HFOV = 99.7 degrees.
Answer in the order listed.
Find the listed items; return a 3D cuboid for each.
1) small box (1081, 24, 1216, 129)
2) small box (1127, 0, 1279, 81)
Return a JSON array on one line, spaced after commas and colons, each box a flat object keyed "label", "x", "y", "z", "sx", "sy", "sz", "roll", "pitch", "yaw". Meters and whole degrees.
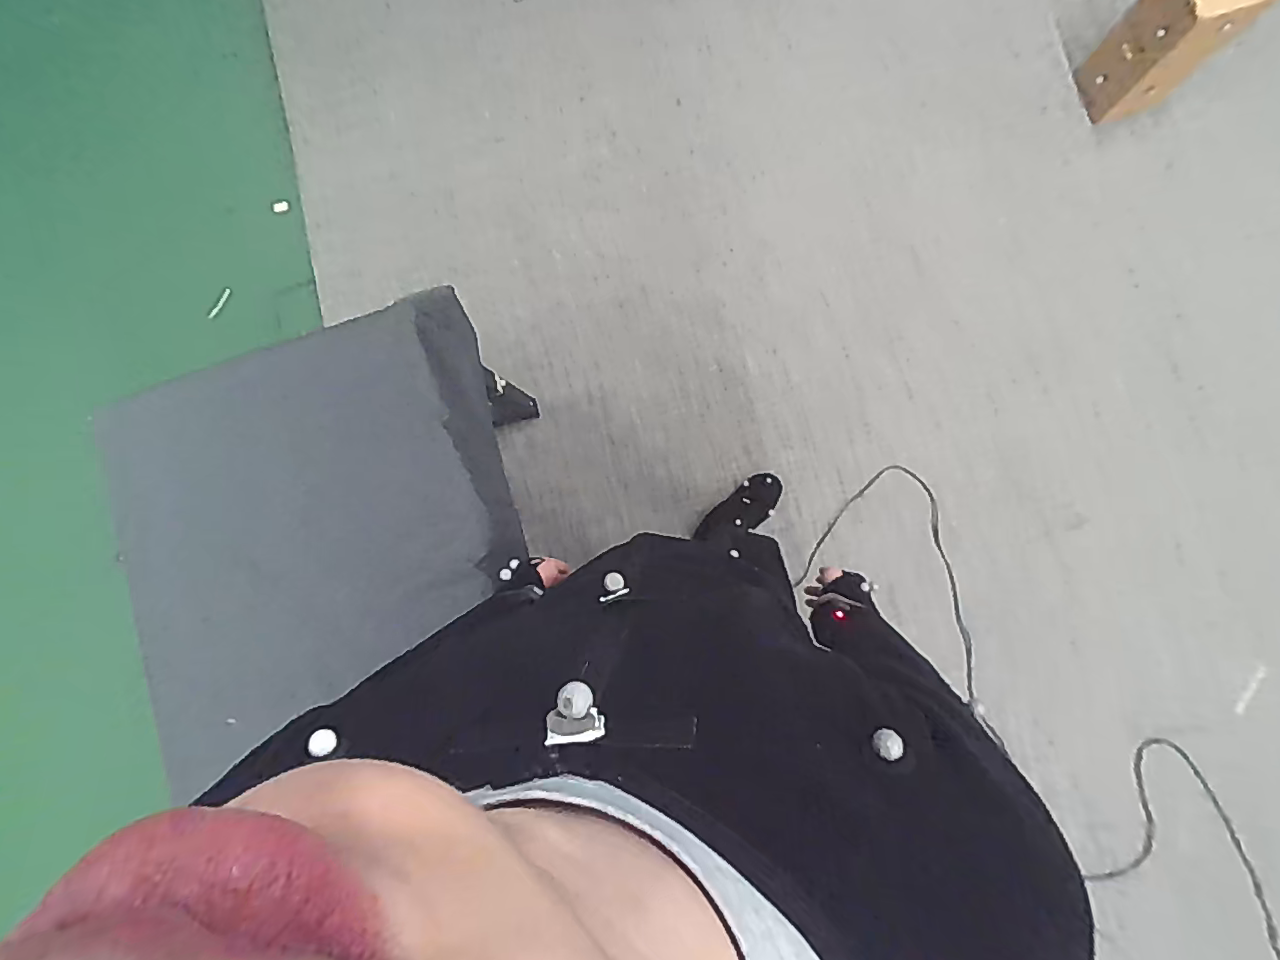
[{"label": "small box", "x": 1.284, "y": -1.049, "z": 1.387, "sx": 0.179, "sy": 0.176, "sz": 0.168, "roll": -16, "pitch": 85, "yaw": 6}, {"label": "small box", "x": 1.266, "y": -1.058, "z": 1.226, "sx": 0.179, "sy": 0.176, "sz": 0.168, "roll": -16, "pitch": 85, "yaw": 4}]
